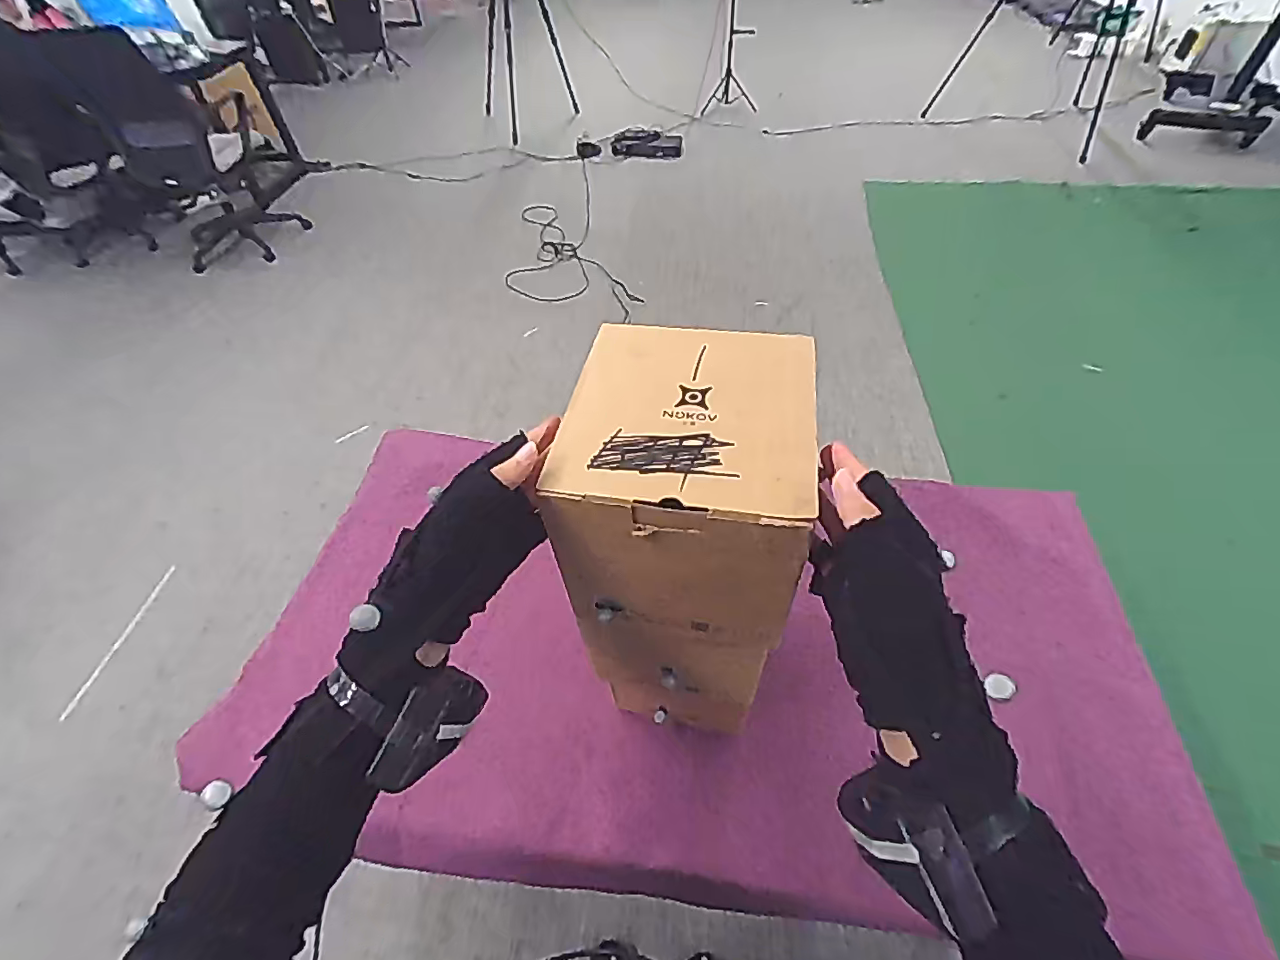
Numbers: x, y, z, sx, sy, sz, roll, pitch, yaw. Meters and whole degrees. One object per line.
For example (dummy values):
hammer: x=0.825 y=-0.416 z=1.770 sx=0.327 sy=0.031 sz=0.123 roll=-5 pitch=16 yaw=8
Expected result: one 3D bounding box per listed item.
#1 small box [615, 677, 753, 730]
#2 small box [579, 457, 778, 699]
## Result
small box: x=0.062 y=0.195 z=0.695 sx=0.168 sy=0.176 sz=0.179 roll=7 pitch=51 yaw=10
small box: x=0.046 y=0.101 z=0.561 sx=0.168 sy=0.176 sz=0.179 roll=6 pitch=51 yaw=10
